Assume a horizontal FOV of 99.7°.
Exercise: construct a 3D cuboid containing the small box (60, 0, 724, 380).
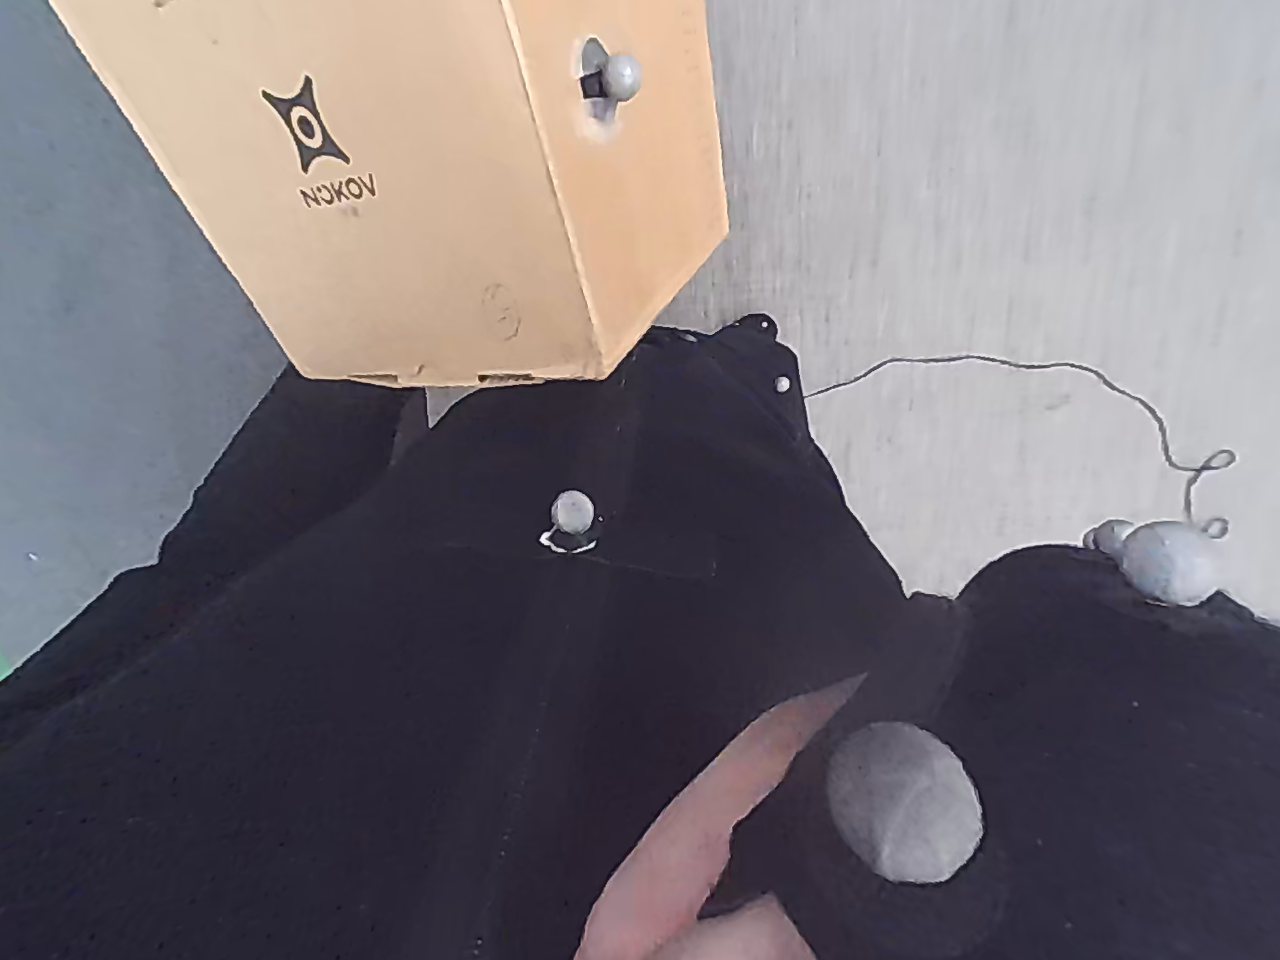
[{"bbox_3d":[-0.070,-0.159,0.226,0.168,0.176,0.179,4,130,24],"label":"small box"}]
